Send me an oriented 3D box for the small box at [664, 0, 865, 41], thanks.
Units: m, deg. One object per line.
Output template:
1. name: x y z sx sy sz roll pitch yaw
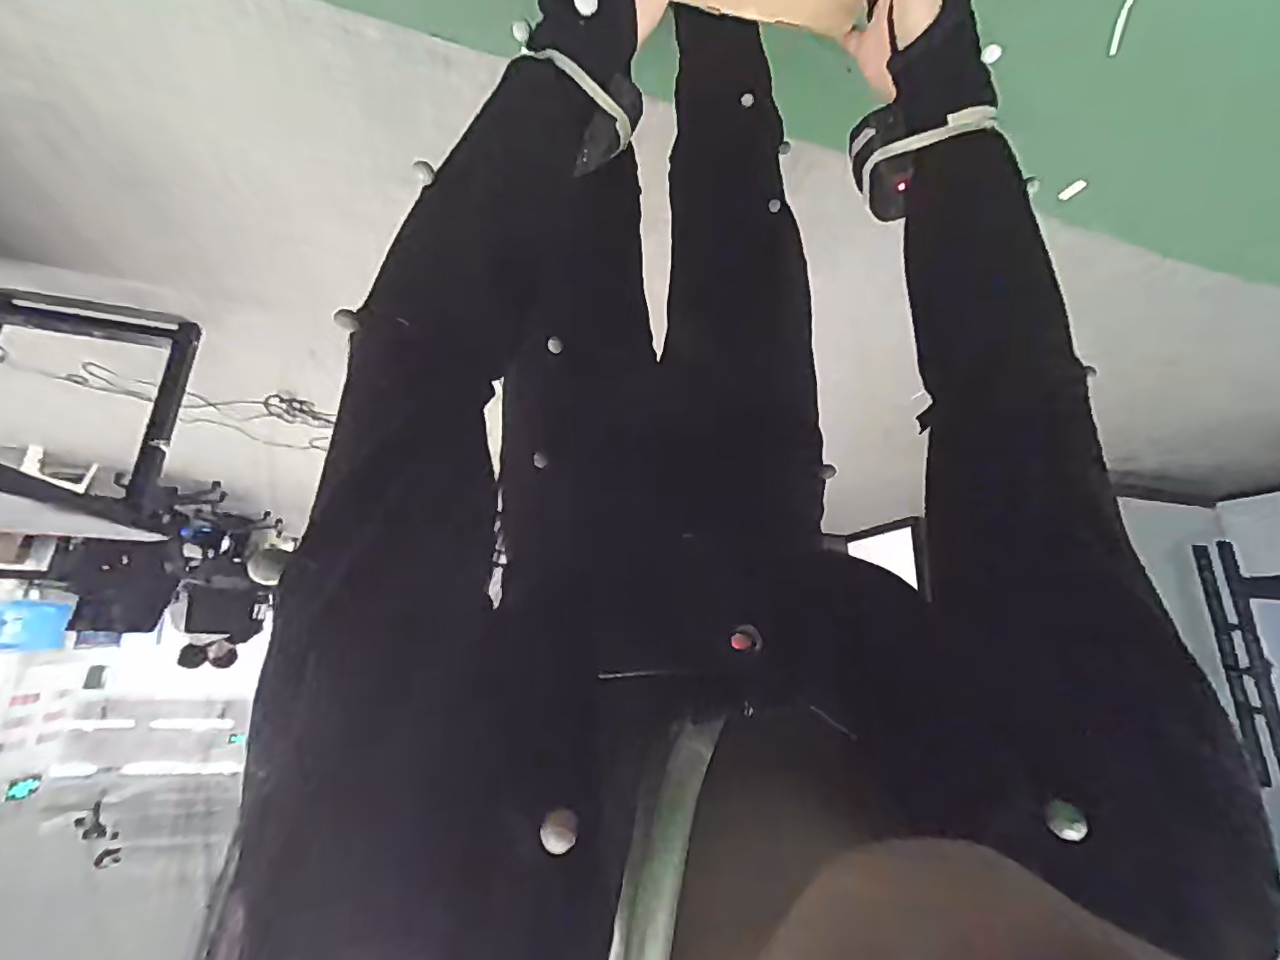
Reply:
1. small box: 0.099 -0.456 0.359 0.168 0.176 0.179 4 162 -10
